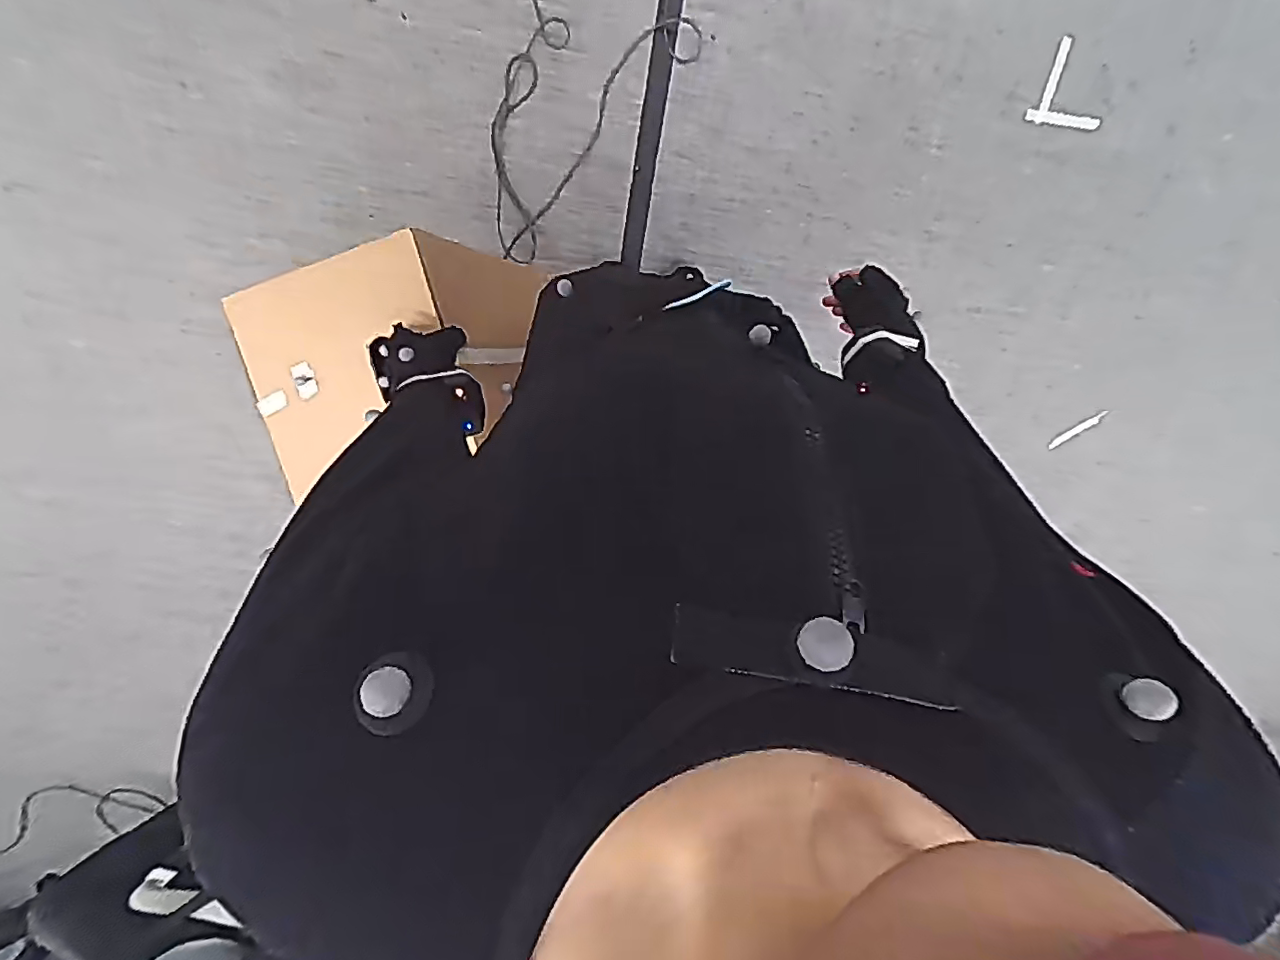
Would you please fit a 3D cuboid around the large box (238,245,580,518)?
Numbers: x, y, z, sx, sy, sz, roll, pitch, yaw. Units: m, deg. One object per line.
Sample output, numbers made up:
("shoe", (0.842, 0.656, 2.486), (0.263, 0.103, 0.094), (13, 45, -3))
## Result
("large box", (-0.338, -0.160, 0.913), (0.320, 0.408, 0.320), (-11, 100, 14))
